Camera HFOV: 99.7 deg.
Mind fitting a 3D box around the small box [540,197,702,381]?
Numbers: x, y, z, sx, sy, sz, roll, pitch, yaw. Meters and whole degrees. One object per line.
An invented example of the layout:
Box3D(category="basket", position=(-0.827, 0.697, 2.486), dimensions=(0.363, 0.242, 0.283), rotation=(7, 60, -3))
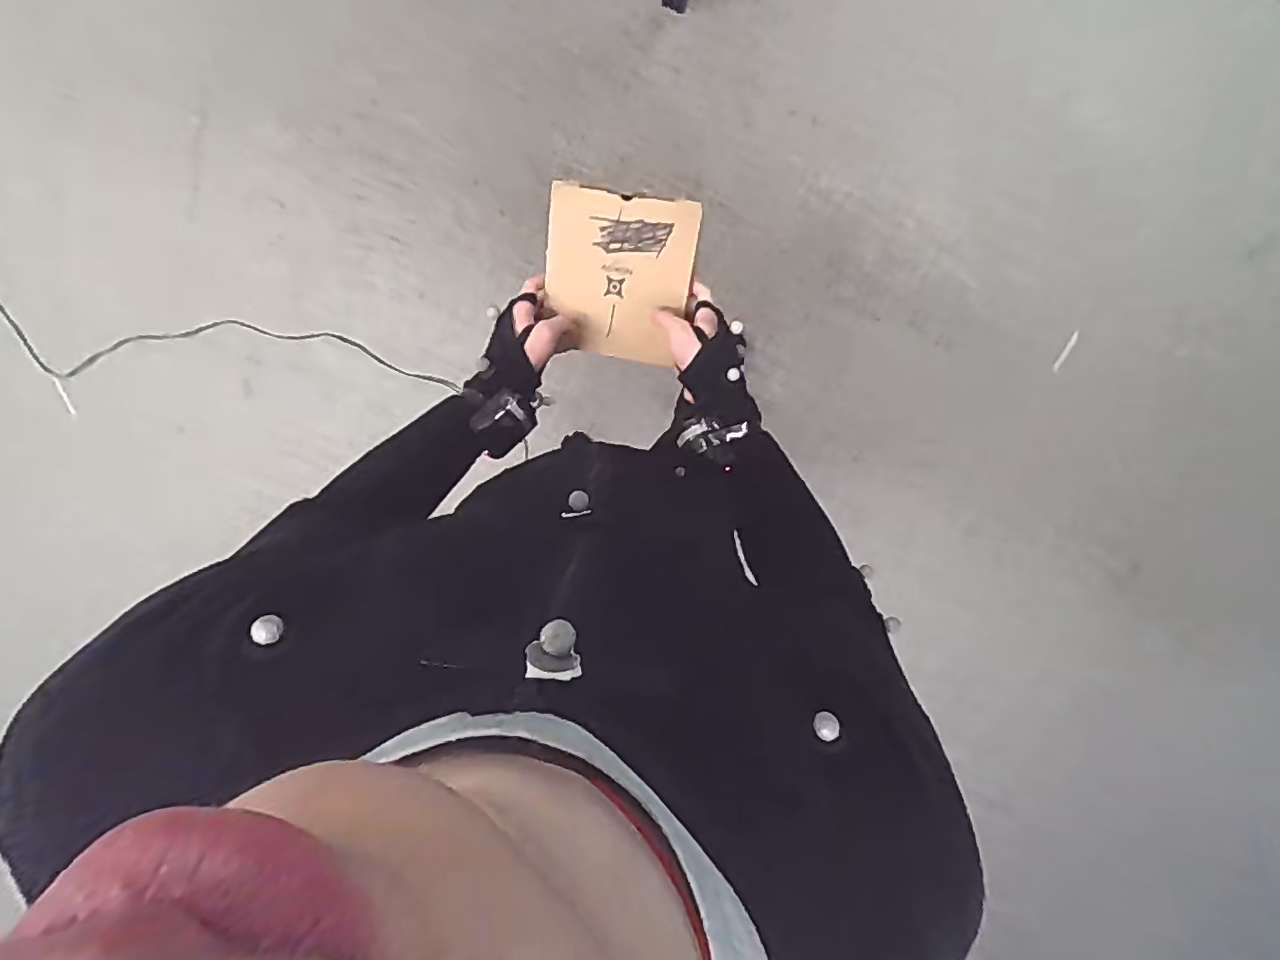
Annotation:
Box3D(category="small box", position=(-0.018, -0.240, 0.674), dimensions=(0.168, 0.176, 0.179), rotation=(10, 116, 4))
